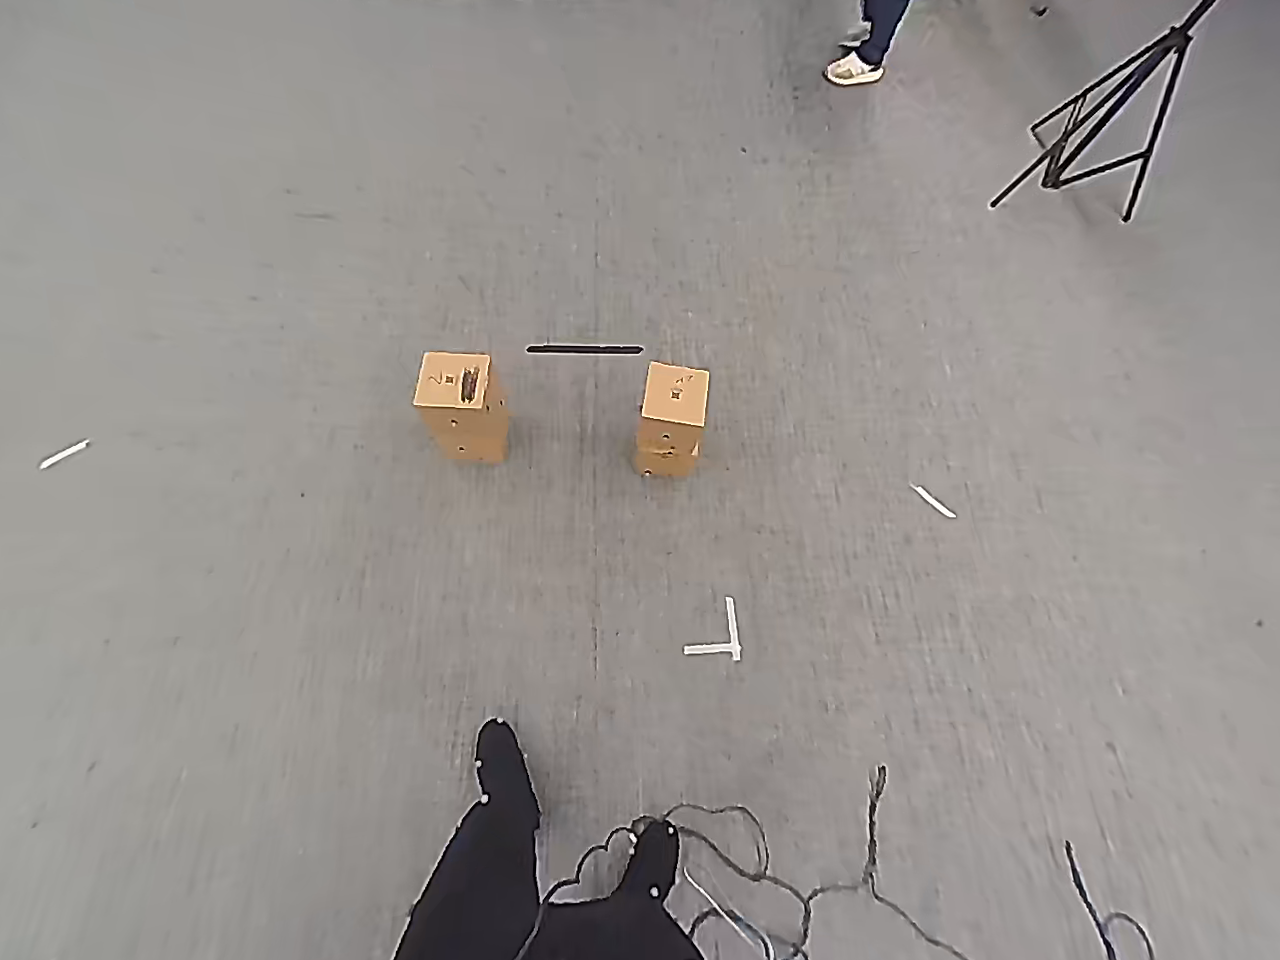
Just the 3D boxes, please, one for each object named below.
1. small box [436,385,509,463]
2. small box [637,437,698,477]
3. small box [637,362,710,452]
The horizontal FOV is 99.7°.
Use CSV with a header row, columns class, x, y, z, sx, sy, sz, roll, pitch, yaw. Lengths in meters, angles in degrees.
class,x,y,z,sx,sy,sz,roll,pitch,yaw
small box,-0.491,-0.162,1.607,0.168,0.176,0.179,2,67,-4
small box,0.081,-0.120,1.639,0.168,0.176,0.179,4,66,-4
small box,0.088,-0.195,1.492,0.168,0.176,0.179,10,67,-2
